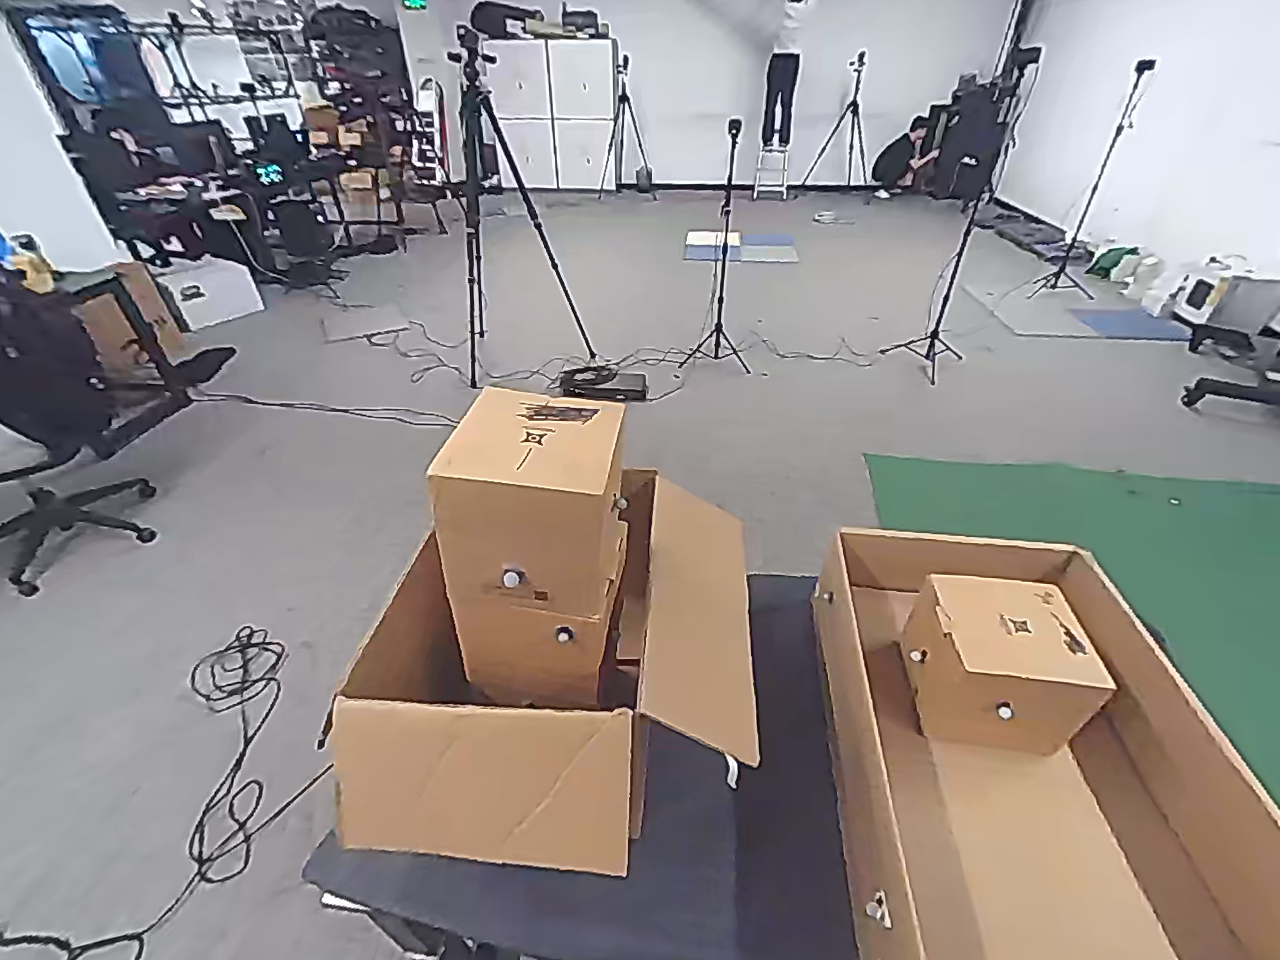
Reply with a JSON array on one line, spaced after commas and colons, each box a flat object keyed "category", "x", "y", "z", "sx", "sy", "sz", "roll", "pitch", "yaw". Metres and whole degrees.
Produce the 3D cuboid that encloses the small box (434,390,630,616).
[{"category": "small box", "x": -0.107, "y": 0.021, "z": 0.602, "sx": 0.168, "sy": 0.176, "sz": 0.179, "roll": 7, "pitch": 37, "yaw": 2}]
